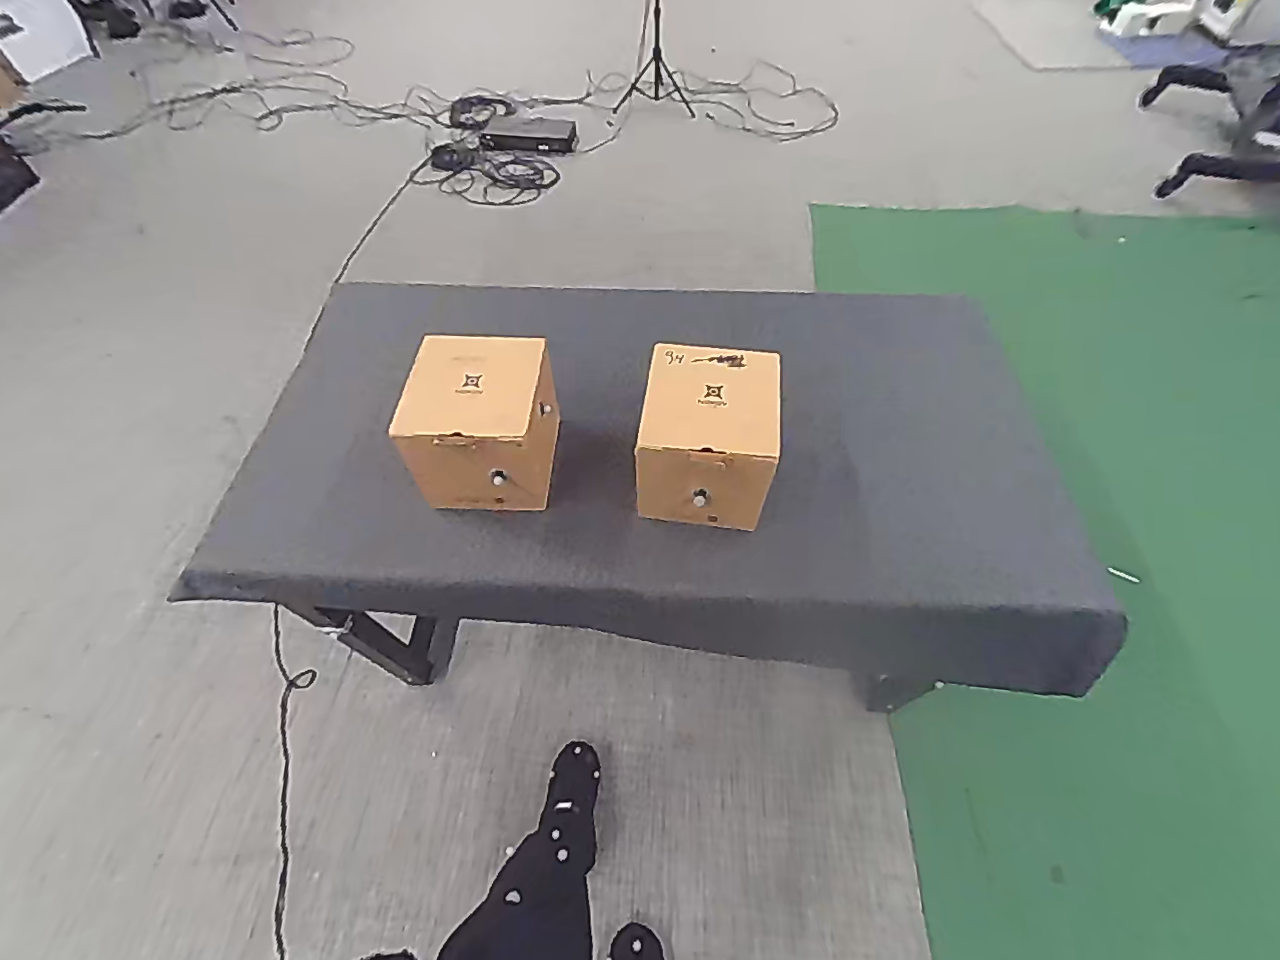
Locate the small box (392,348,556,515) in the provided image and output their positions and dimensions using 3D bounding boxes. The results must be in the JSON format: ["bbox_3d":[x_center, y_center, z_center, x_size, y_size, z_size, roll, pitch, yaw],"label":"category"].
[{"bbox_3d":[-0.215,-0.063,0.759,0.168,0.176,0.179,1,54,1],"label":"small box"}]

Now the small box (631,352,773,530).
[{"bbox_3d":[0.085,-0.048,0.738,0.168,0.176,0.179,6,57,6],"label":"small box"}]
